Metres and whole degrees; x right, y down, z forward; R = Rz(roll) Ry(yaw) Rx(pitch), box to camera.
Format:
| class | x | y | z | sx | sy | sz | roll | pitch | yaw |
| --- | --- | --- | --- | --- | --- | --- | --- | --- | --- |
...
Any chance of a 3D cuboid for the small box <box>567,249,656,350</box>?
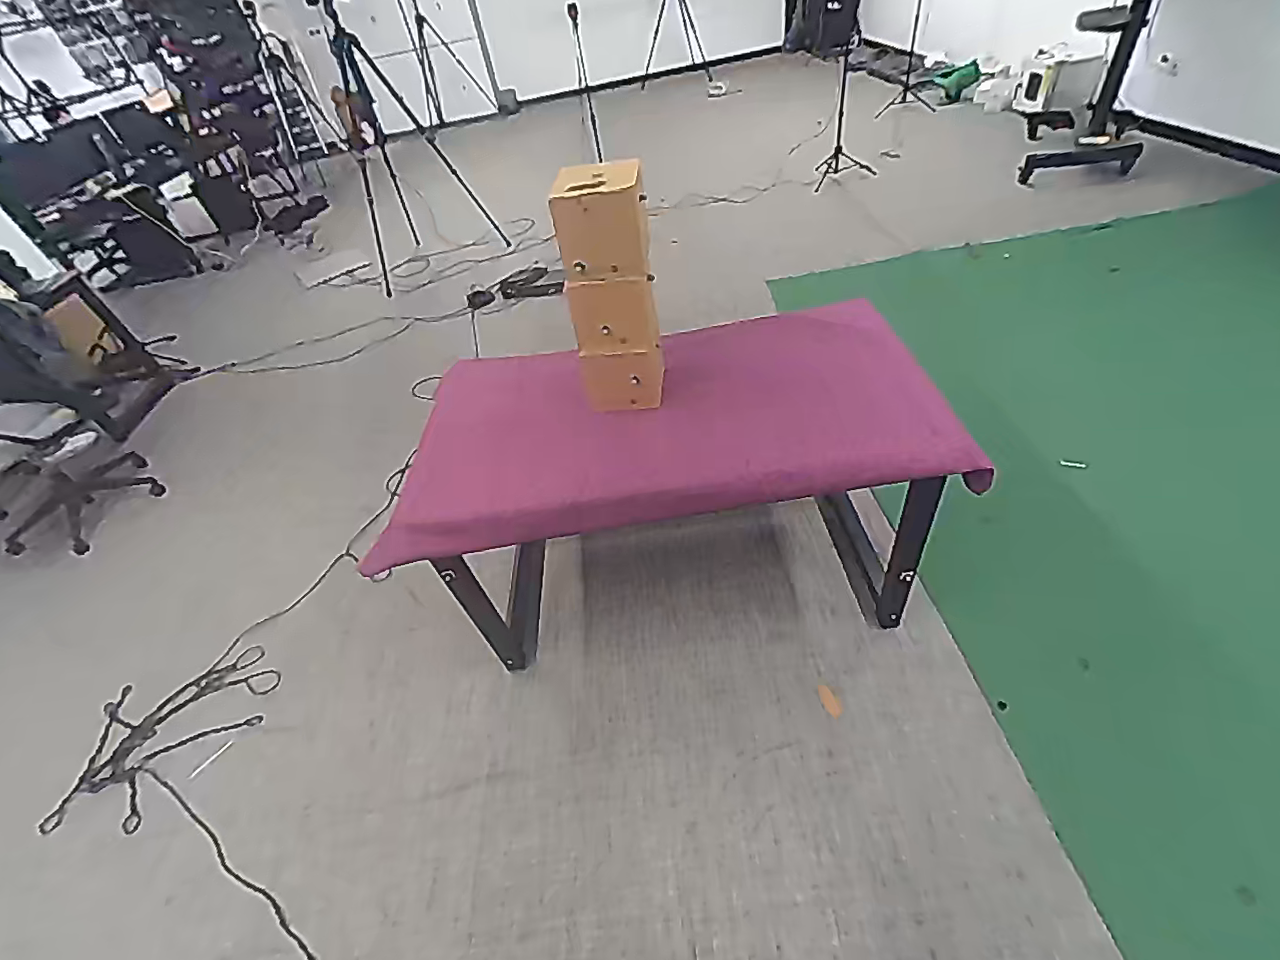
| class | x | y | z | sx | sy | sz | roll | pitch | yaw |
| --- | --- | --- | --- | --- | --- | --- | --- | --- | --- |
| small box | -0.057 | -0.411 | 1.213 | 0.168 | 0.176 | 0.179 | -3 | 46 | 8 |

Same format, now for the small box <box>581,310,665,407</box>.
| class | x | y | z | sx | sy | sz | roll | pitch | yaw |
| --- | --- | --- | --- | --- | --- | --- | --- | --- | --- |
| small box | -0.033 | -0.290 | 1.319 | 0.168 | 0.176 | 0.179 | -1 | 45 | 10 |

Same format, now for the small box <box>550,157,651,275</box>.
| class | x | y | z | sx | sy | sz | roll | pitch | yaw |
| --- | --- | --- | --- | --- | --- | --- | --- | --- | --- |
| small box | -0.071 | -0.531 | 1.102 | 0.168 | 0.176 | 0.179 | -2 | 45 | 8 |
